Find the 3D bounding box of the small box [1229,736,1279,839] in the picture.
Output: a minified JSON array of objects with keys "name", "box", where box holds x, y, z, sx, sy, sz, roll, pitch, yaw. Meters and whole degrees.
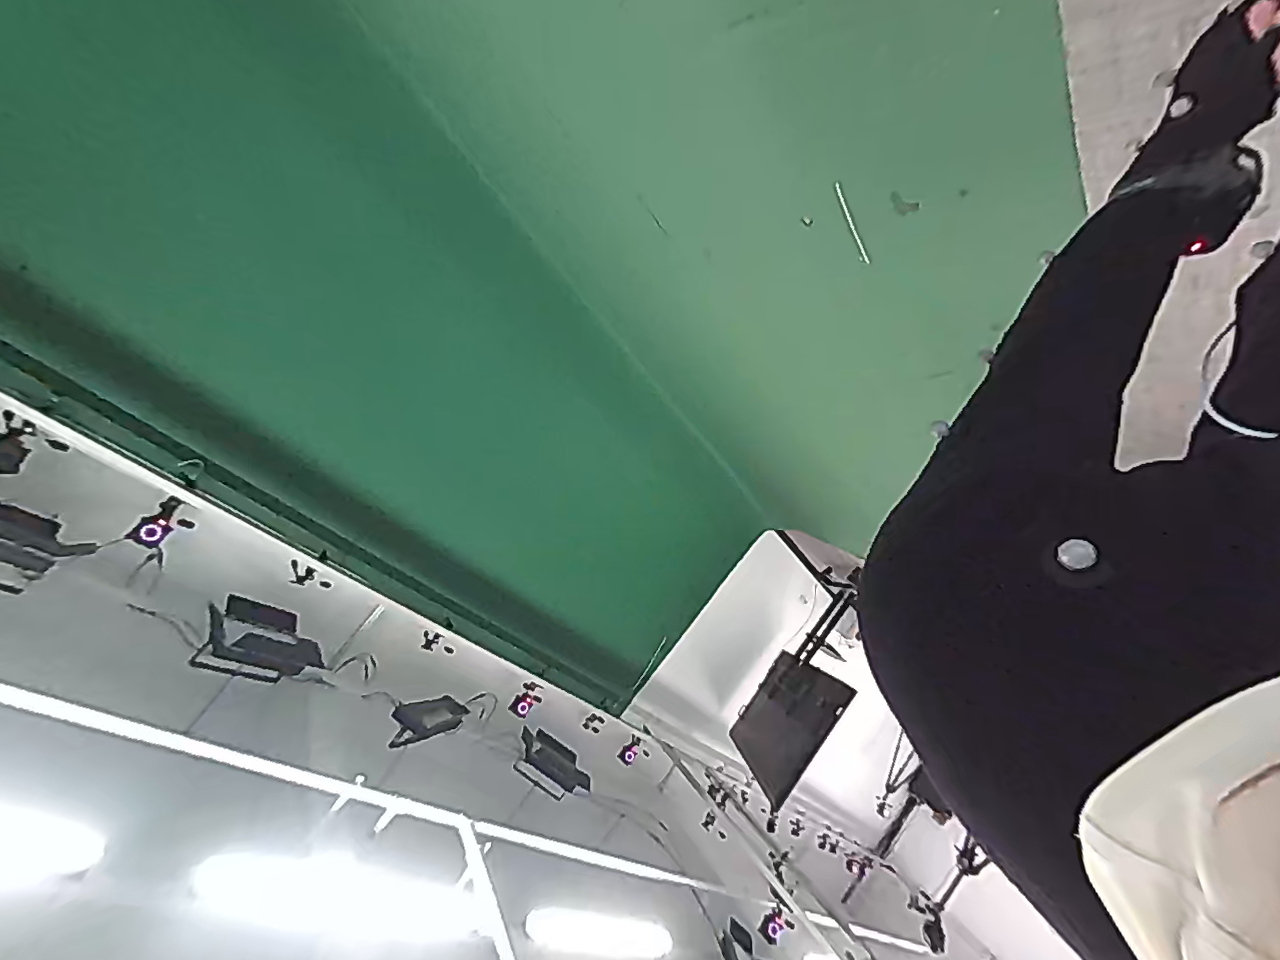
[{"name":"small box","box":[1.468,0.712,1.204,0.179,0.176,0.168,44,170,-34]}]
